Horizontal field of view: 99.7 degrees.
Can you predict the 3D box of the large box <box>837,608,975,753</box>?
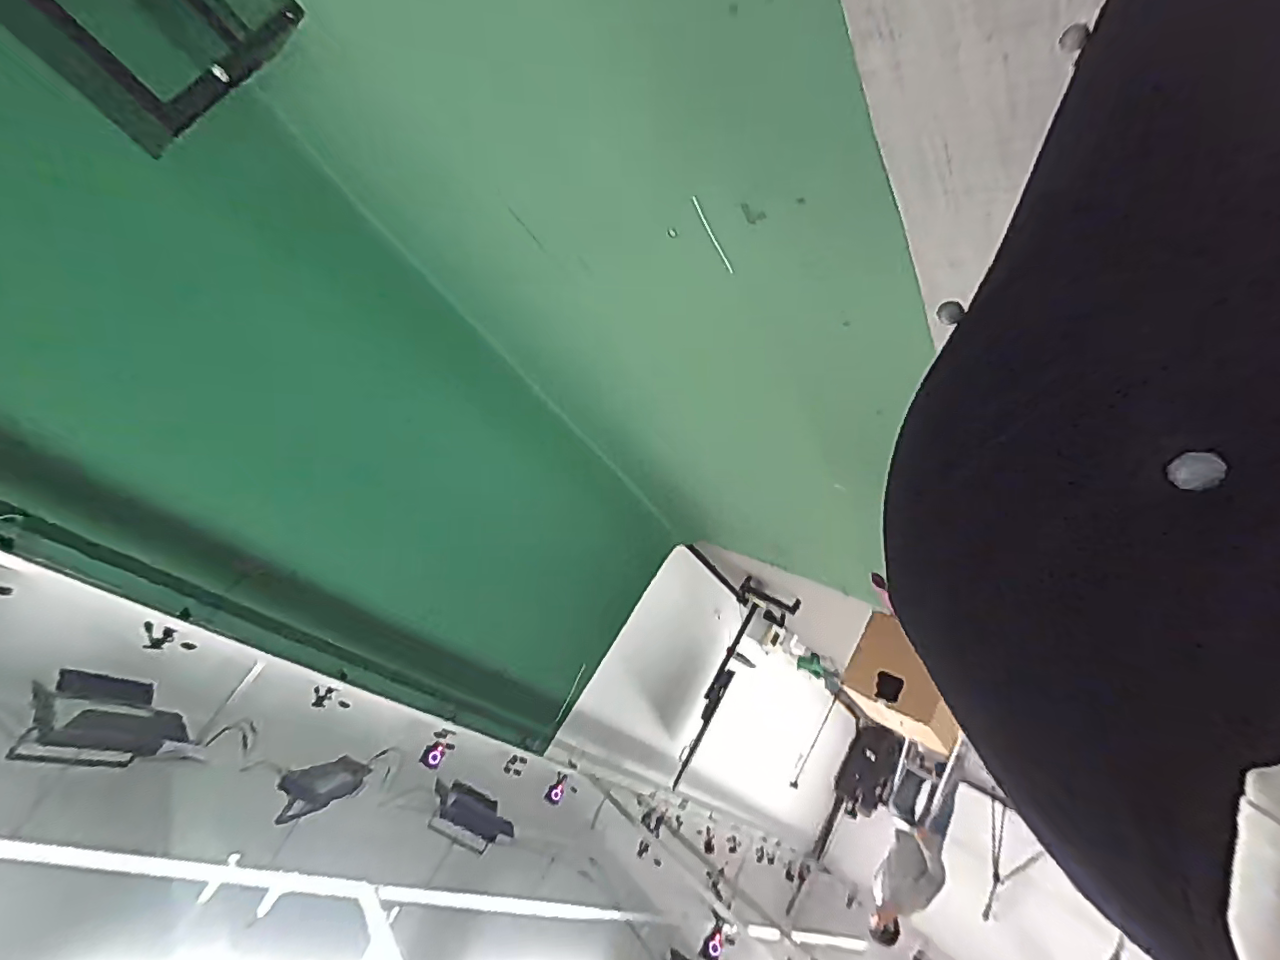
[{"bbox_3d":[0.989,0.731,1.986,0.320,0.320,0.408,14,155,45],"label":"large box"}]
